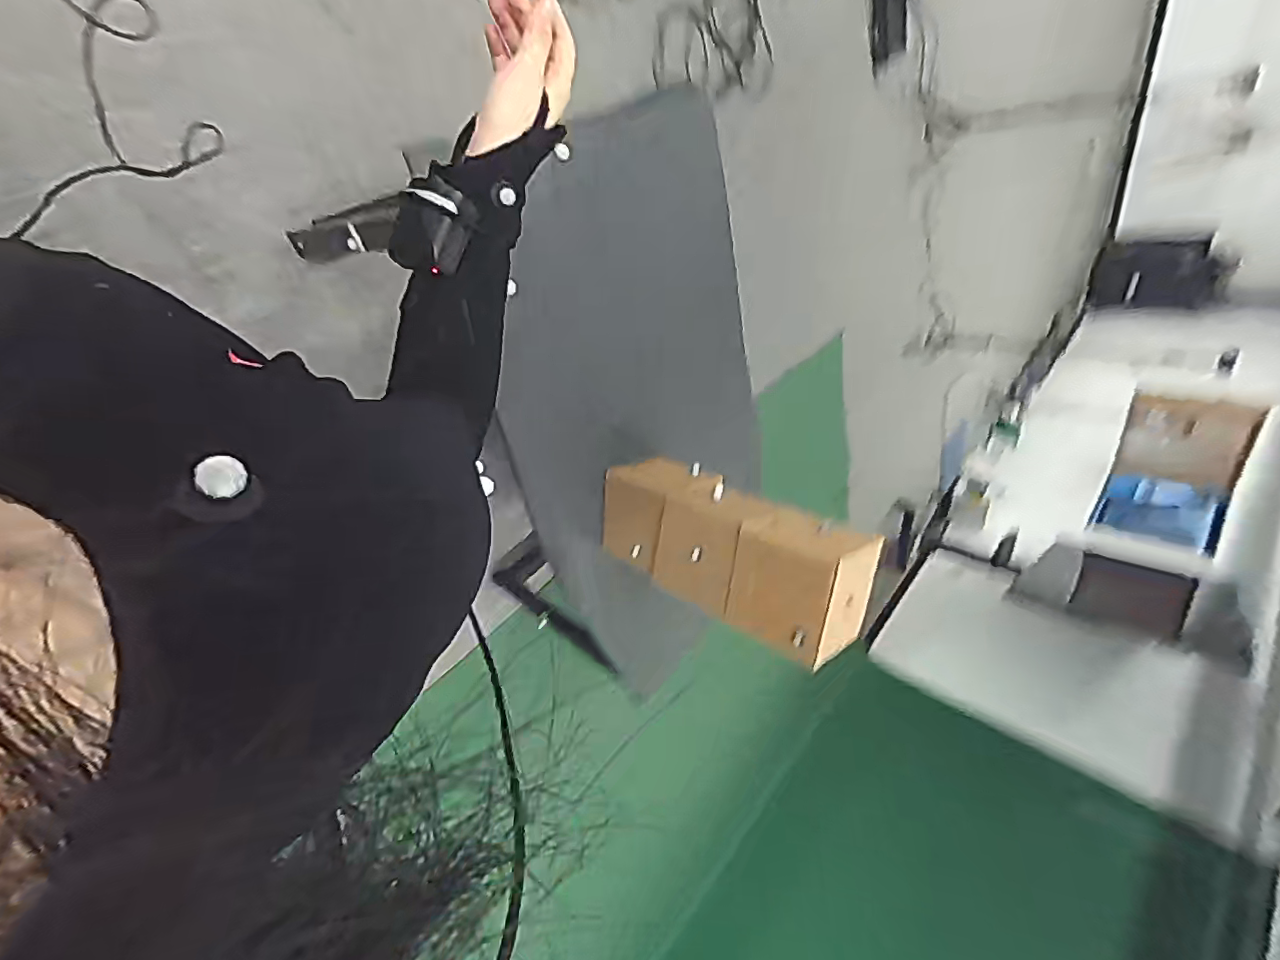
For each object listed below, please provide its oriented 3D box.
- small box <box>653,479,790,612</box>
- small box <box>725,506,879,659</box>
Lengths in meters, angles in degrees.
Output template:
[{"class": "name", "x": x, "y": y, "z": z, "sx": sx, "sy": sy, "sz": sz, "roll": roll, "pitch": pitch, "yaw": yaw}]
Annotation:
[{"class": "small box", "x": 0.142, "y": 0.109, "z": 0.980, "sx": 0.168, "sy": 0.176, "sz": 0.179, "roll": -7, "pitch": 110, "yaw": -46}, {"class": "small box", "x": 0.256, "y": 0.149, "z": 0.871, "sx": 0.168, "sy": 0.176, "sz": 0.179, "roll": -10, "pitch": 113, "yaw": -45}]
